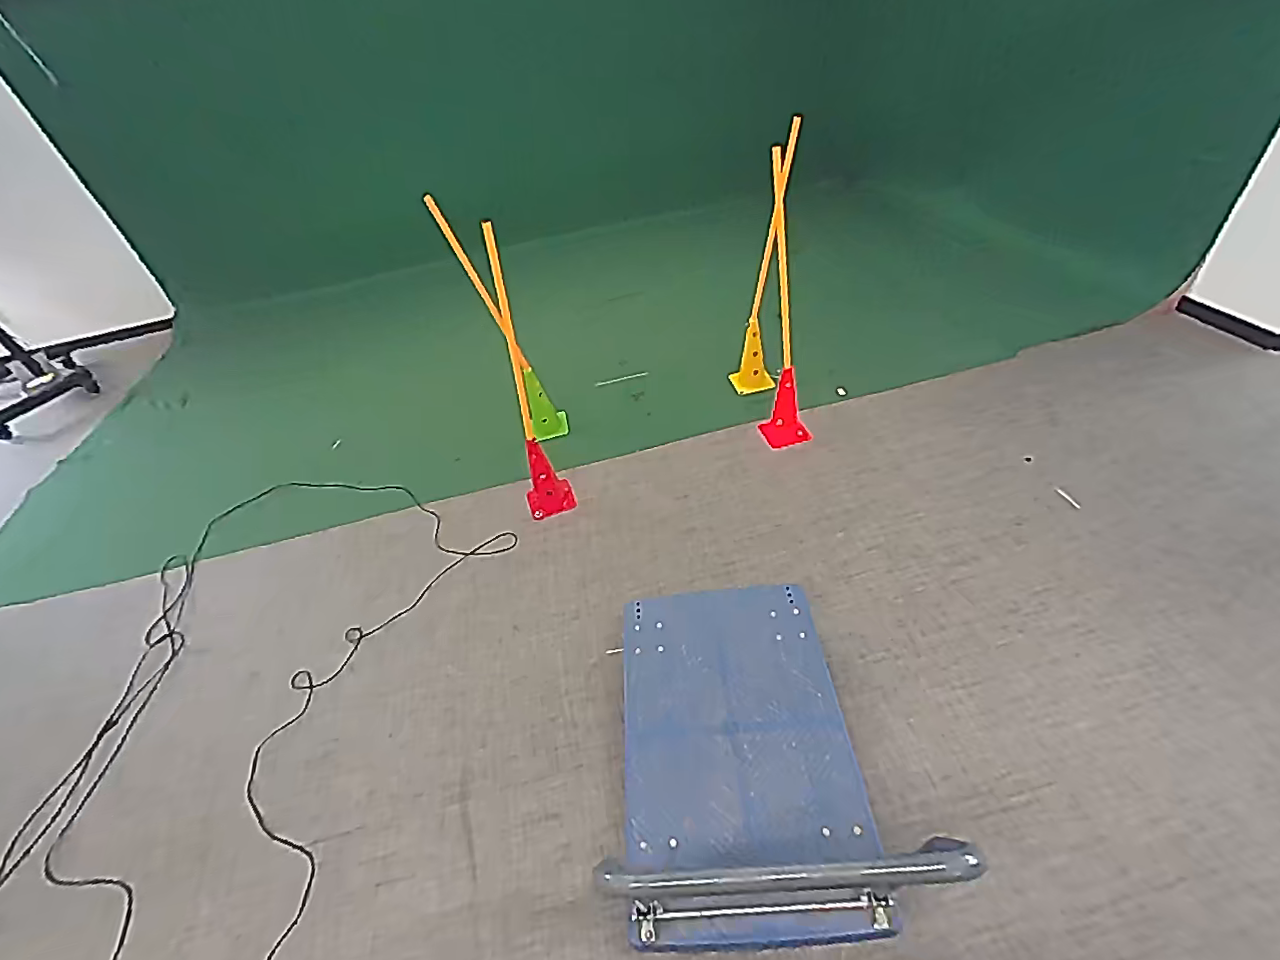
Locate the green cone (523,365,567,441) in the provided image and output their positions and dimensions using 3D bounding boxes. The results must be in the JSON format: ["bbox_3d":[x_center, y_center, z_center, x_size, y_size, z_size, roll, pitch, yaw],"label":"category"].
[{"bbox_3d":[-0.505,-0.405,2.689,0.200,0.368,0.202,-15,42,-3],"label":"green cone"}]

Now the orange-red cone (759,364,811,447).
[{"bbox_3d":[0.648,-0.351,2.400,0.198,0.360,0.199,-13,41,-4],"label":"orange-red cone"}]
